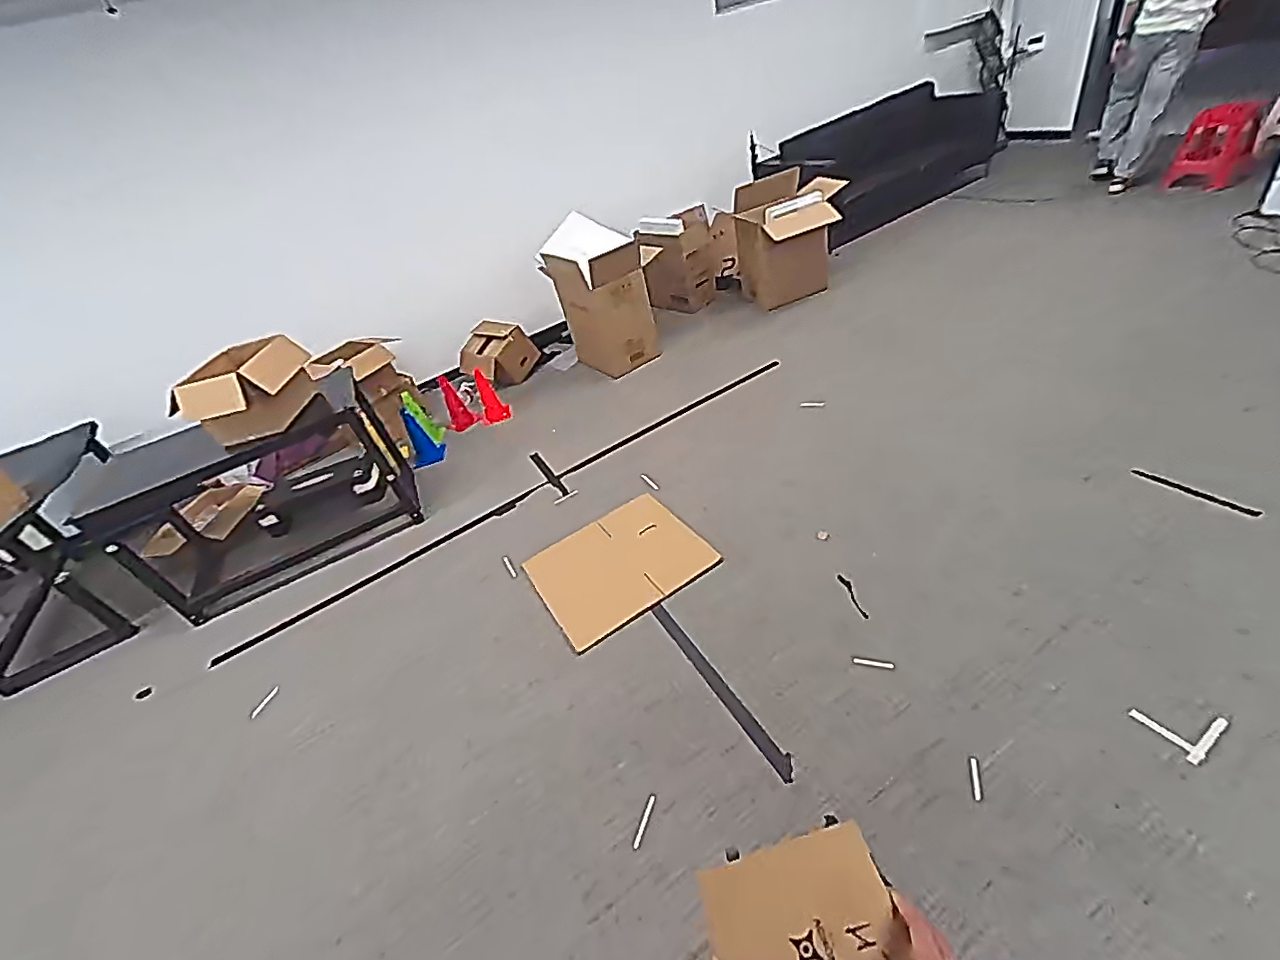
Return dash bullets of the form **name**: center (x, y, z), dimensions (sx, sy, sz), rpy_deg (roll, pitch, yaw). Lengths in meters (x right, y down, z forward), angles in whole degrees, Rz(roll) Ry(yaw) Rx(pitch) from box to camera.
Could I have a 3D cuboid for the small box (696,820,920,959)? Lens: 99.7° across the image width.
- **small box**: center (0.166, 0.481, 0.548), dimensions (0.179, 0.176, 0.168), rpy_deg (-14, 46, -7)
